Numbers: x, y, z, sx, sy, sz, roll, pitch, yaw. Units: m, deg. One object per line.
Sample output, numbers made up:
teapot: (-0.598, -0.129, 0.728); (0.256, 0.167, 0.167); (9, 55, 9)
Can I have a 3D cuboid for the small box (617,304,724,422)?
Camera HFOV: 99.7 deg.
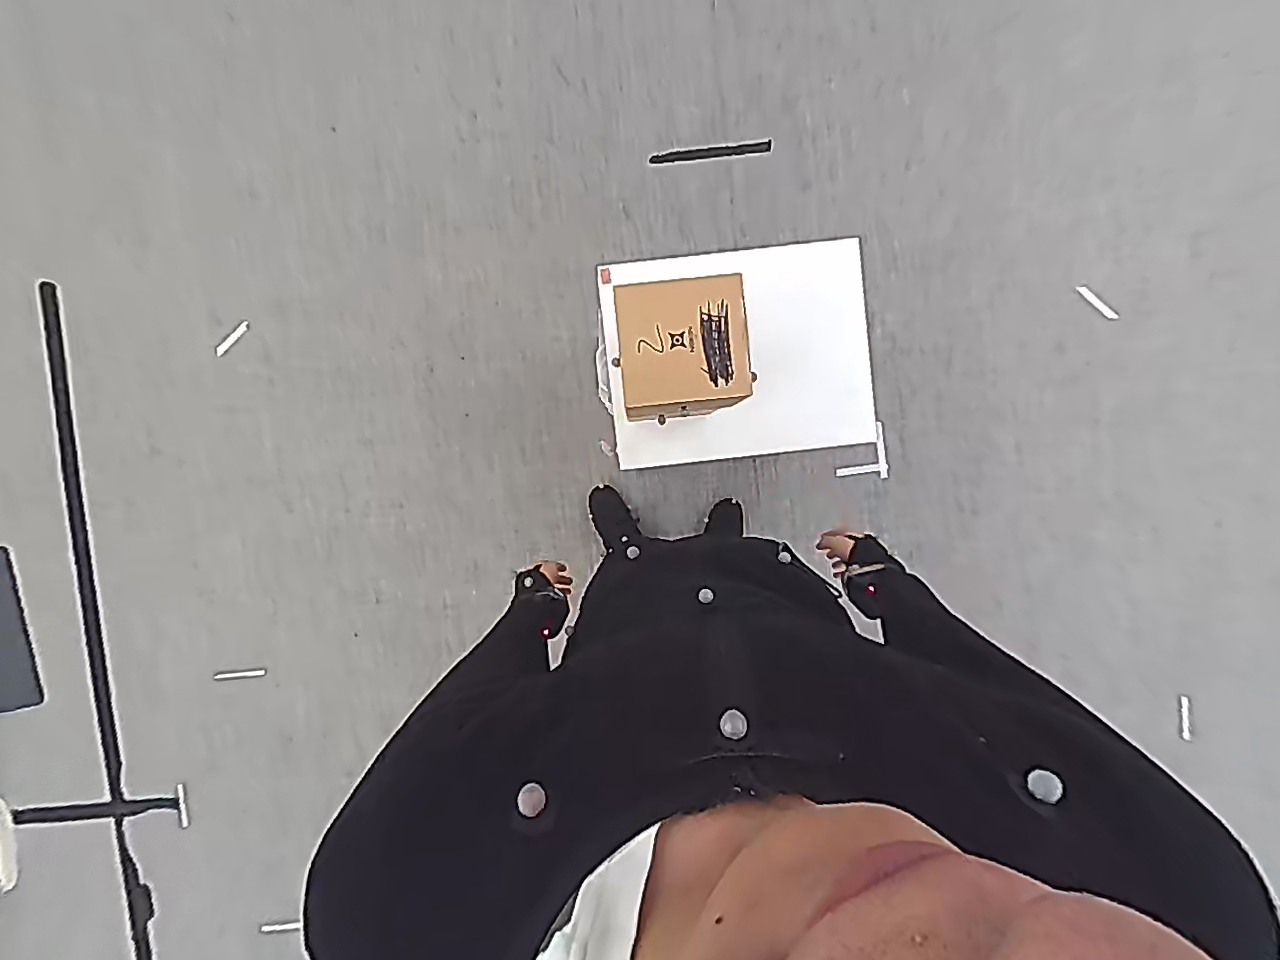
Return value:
small box: (0.051, -0.198, 0.966); (0.168, 0.176, 0.179); (-6, 92, -1)
